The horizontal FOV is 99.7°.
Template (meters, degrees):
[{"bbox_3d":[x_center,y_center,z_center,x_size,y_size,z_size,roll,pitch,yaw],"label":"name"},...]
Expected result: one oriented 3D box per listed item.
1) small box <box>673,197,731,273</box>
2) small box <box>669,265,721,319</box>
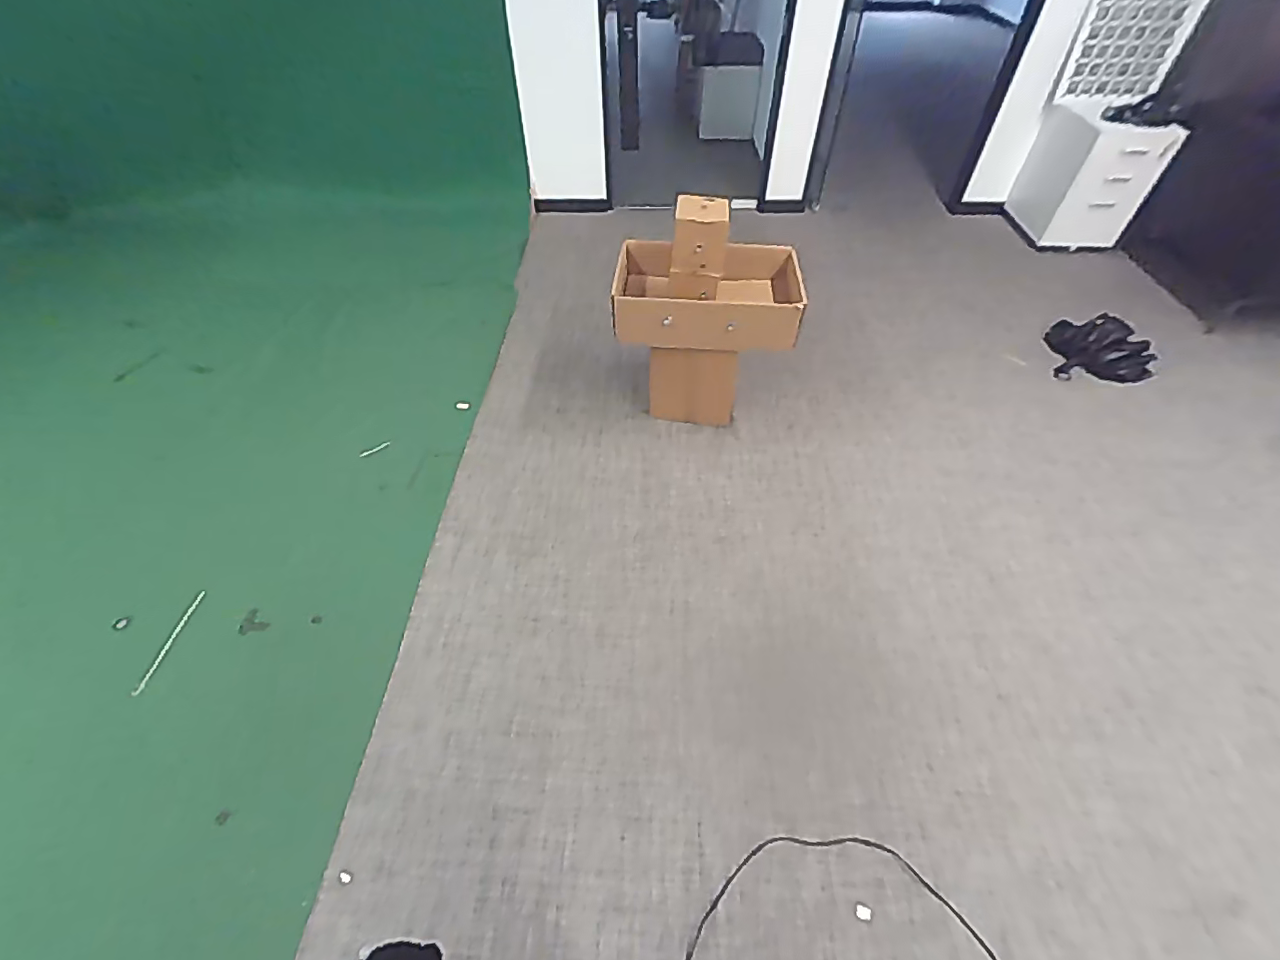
[{"bbox_3d":[0.200,-0.795,1.761,0.168,0.176,0.179,7,50,2],"label":"small box"},{"bbox_3d":[0.191,-0.679,1.878,0.168,0.176,0.179,7,47,2],"label":"small box"}]
